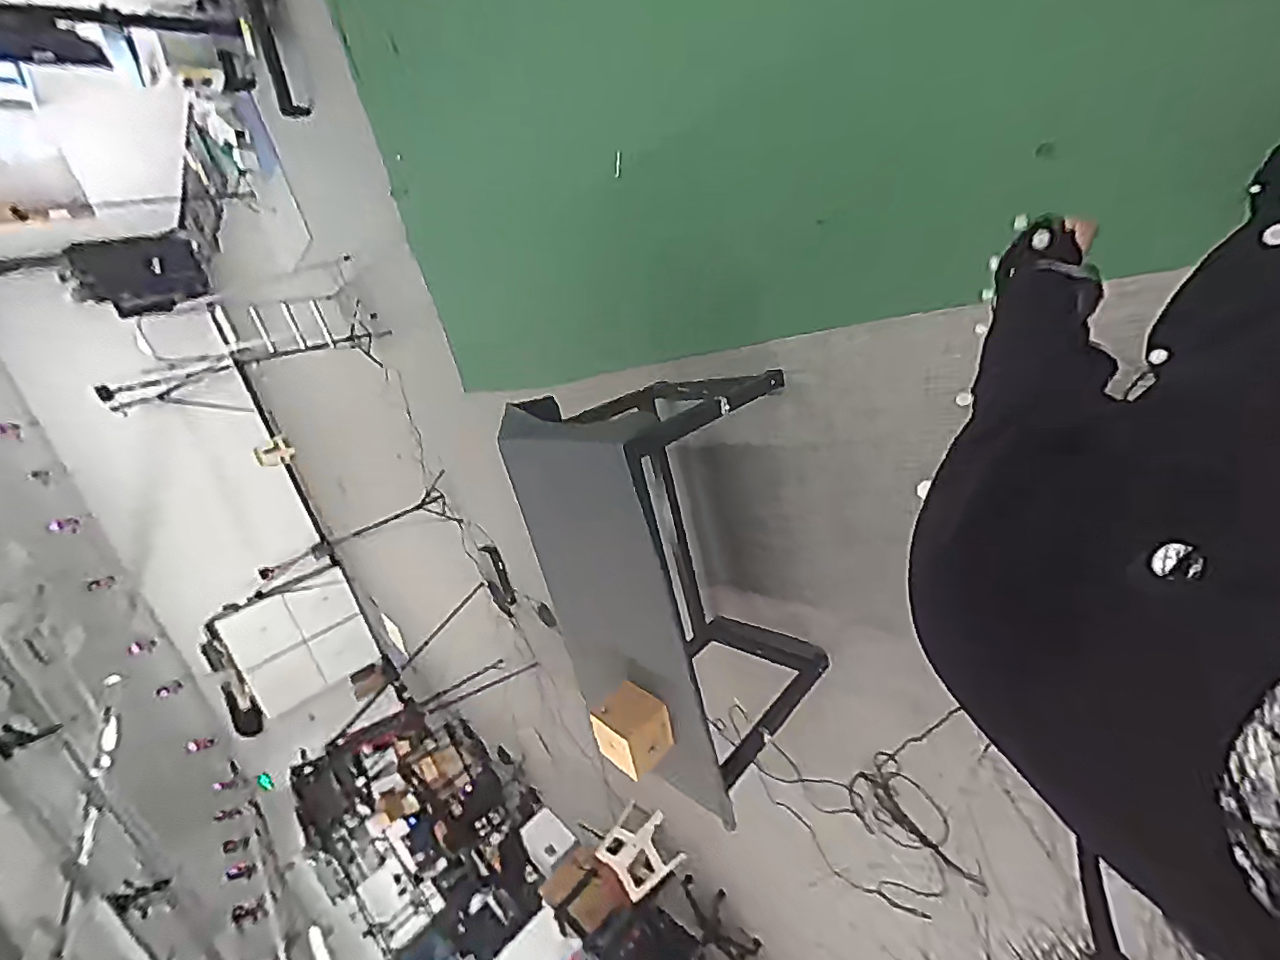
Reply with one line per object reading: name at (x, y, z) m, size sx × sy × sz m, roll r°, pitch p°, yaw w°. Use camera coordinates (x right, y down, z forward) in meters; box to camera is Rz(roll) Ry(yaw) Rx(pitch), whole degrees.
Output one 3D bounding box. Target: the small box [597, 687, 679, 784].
small box at (0.002, 0.762, 1.635) m, size 0.179 × 0.176 × 0.168 m, roll 12°, pitch 121°, yaw 47°
